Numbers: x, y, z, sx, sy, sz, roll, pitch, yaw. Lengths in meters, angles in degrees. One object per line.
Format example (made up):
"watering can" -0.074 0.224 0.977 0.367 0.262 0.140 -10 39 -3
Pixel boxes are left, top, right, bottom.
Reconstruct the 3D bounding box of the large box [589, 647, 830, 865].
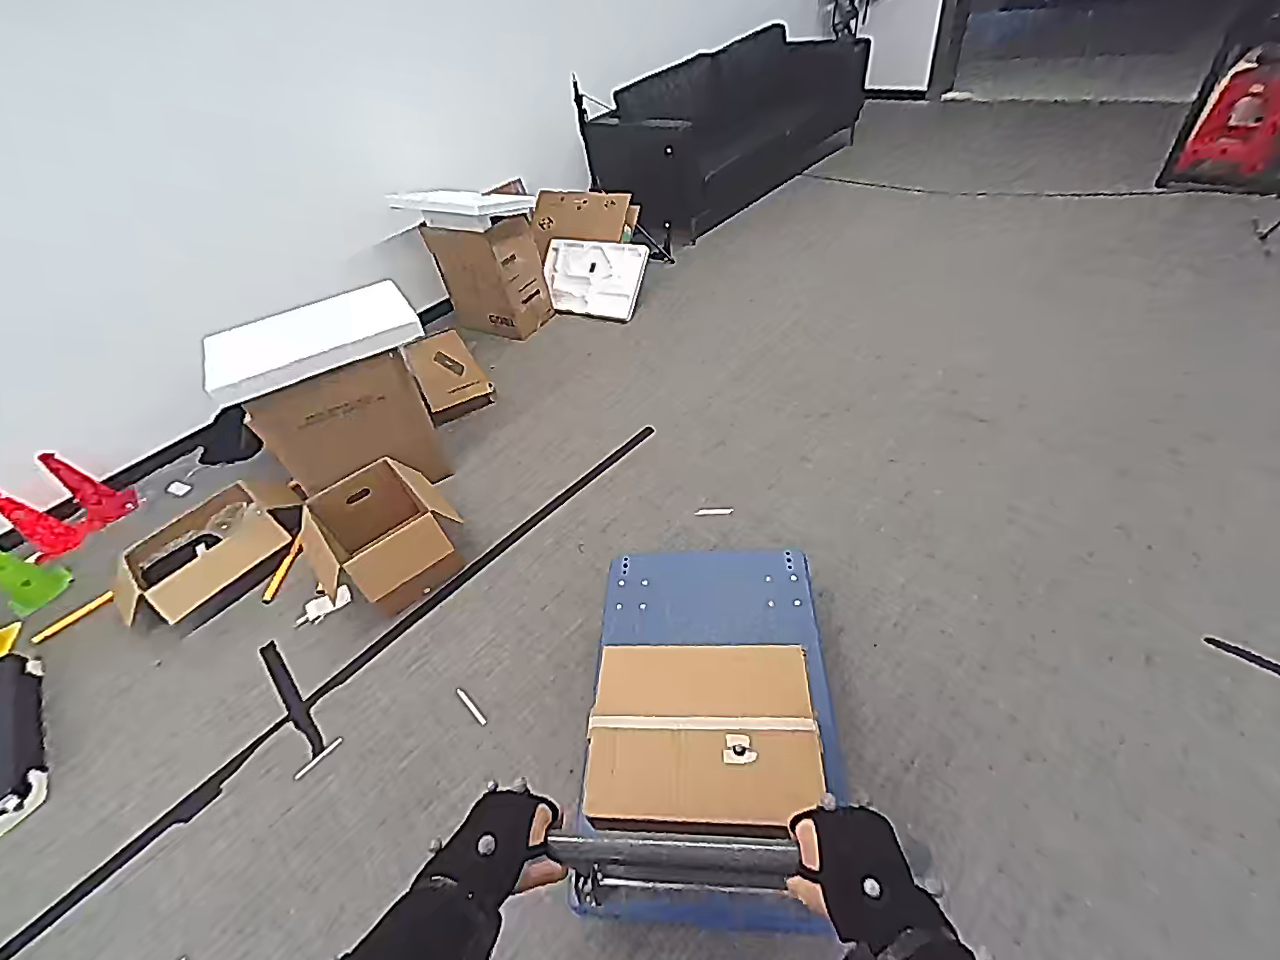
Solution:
"large box" 0.133 0.555 1.090 0.408 0.320 0.320 -3 45 8
